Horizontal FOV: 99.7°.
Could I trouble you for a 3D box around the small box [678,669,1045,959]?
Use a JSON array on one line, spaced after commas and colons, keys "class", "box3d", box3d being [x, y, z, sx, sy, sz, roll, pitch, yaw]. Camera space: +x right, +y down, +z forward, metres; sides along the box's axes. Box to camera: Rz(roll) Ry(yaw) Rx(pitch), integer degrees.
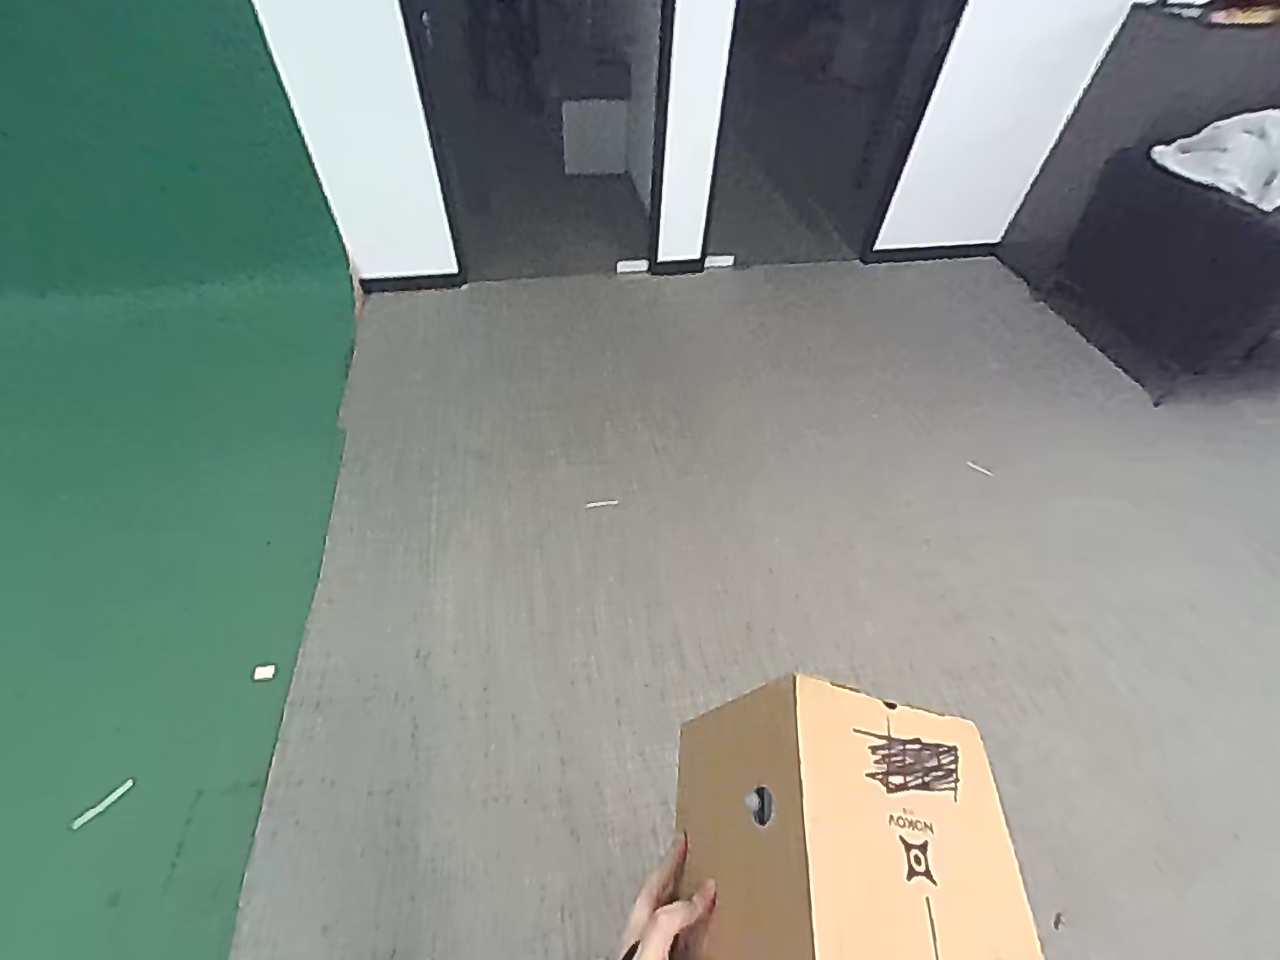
[{"class": "small box", "box3d": [0.138, 0.265, 0.392, 0.168, 0.176, 0.179, 20, 50, -15]}]
